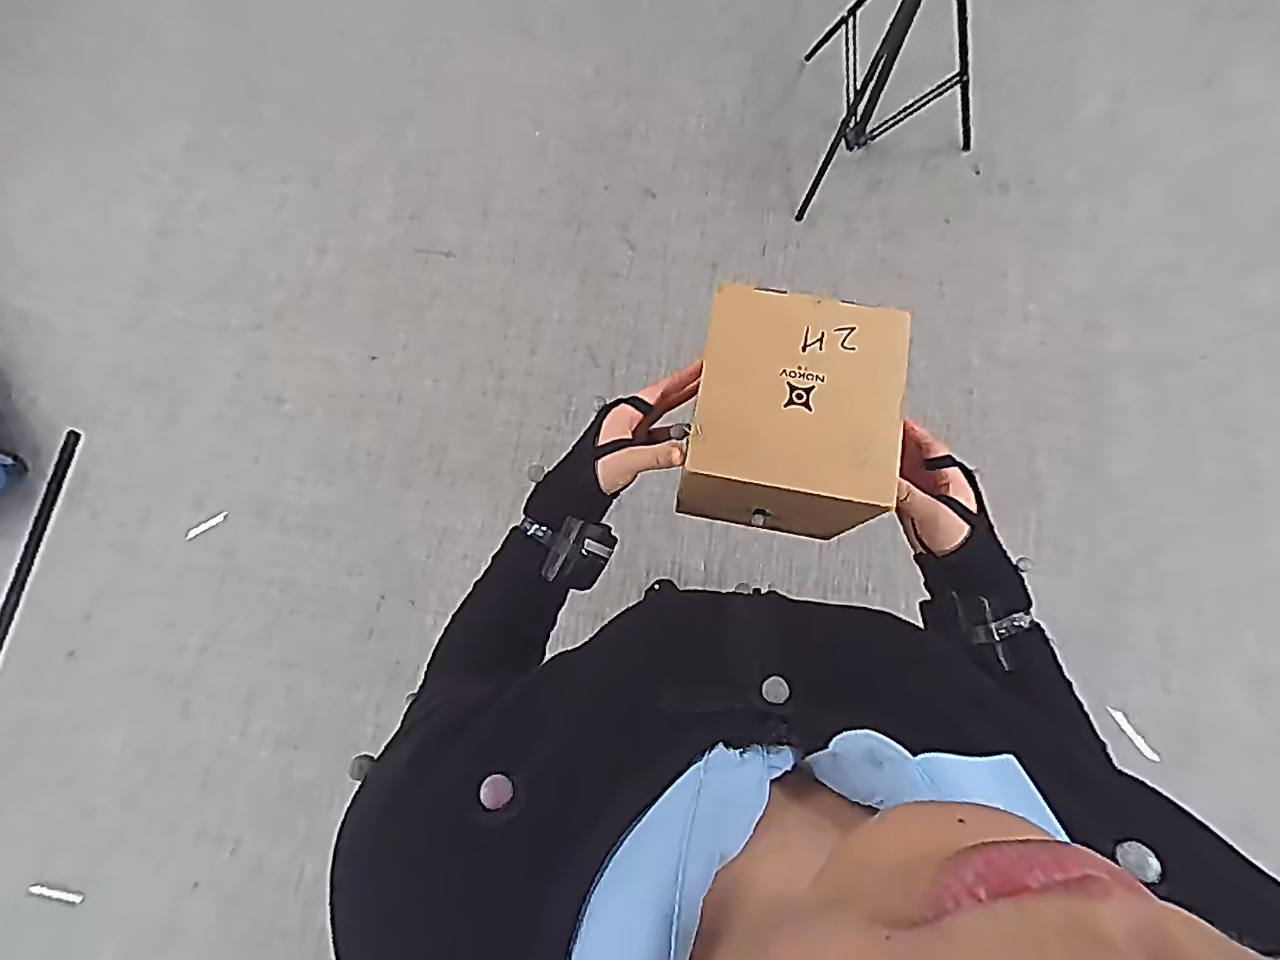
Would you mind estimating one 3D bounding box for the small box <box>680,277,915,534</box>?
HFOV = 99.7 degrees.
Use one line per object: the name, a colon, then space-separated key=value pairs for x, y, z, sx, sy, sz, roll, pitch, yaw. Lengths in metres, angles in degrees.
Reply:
small box: x=0.133 y=-0.056 z=0.509 sx=0.168 sy=0.176 sz=0.179 roll=11 pitch=74 yaw=3
